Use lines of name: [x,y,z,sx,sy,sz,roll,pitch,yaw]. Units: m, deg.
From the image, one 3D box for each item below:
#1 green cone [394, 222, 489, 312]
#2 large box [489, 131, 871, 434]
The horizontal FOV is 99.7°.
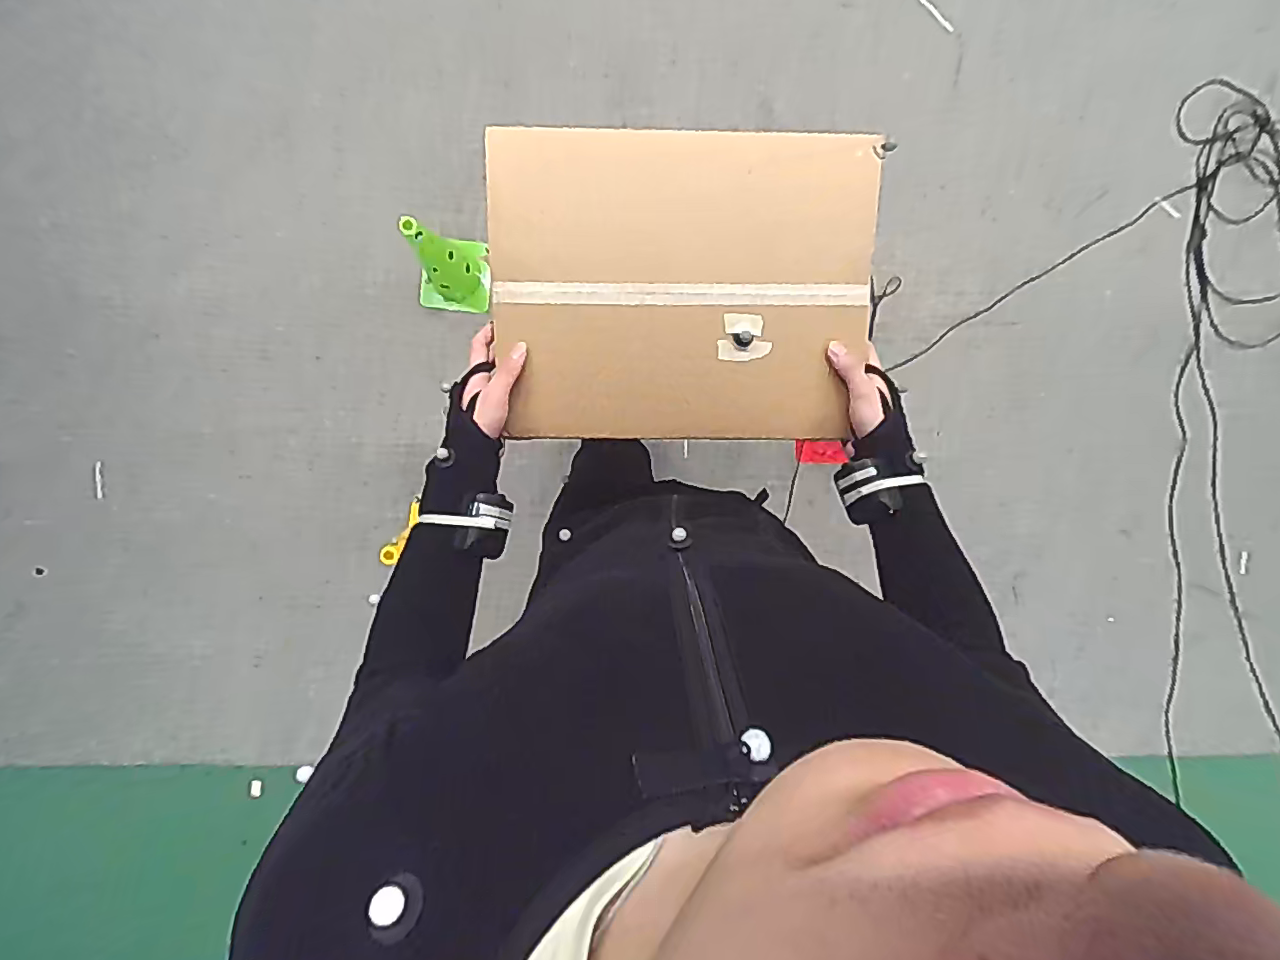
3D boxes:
green cone: [-0.539,-0.581,1.390,0.200,0.368,0.202,5,95,-1]
large box: [0.038,-0.238,0.732,0.408,0.320,0.320,-1,103,-2]
